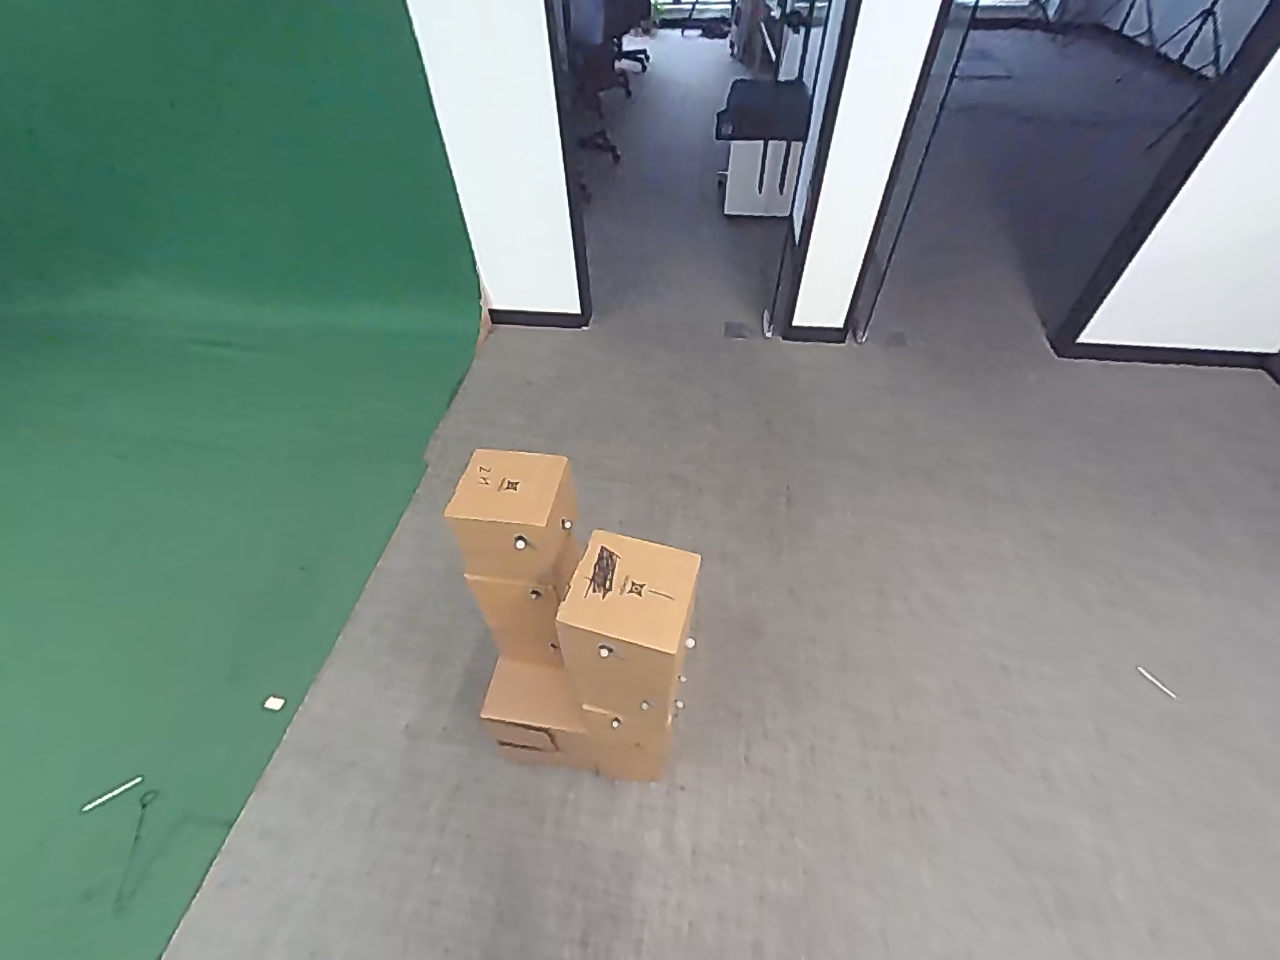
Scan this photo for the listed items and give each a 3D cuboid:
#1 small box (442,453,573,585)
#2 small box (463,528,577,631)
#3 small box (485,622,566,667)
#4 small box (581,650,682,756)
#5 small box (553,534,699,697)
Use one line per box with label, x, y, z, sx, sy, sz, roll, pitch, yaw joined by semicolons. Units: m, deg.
small box;-0.226;0.073;0.984;0.179;0.176;0.168;5;45;6
small box;-0.233;0.190;1.101;0.179;0.176;0.168;5;46;5
small box;-0.224;0.304;1.216;0.179;0.176;0.168;3;46;5
small box;-0.013;0.428;1.093;0.168;0.176;0.179;8;48;8
small box;-0.017;0.214;0.843;0.179;0.176;0.168;13;50;10
